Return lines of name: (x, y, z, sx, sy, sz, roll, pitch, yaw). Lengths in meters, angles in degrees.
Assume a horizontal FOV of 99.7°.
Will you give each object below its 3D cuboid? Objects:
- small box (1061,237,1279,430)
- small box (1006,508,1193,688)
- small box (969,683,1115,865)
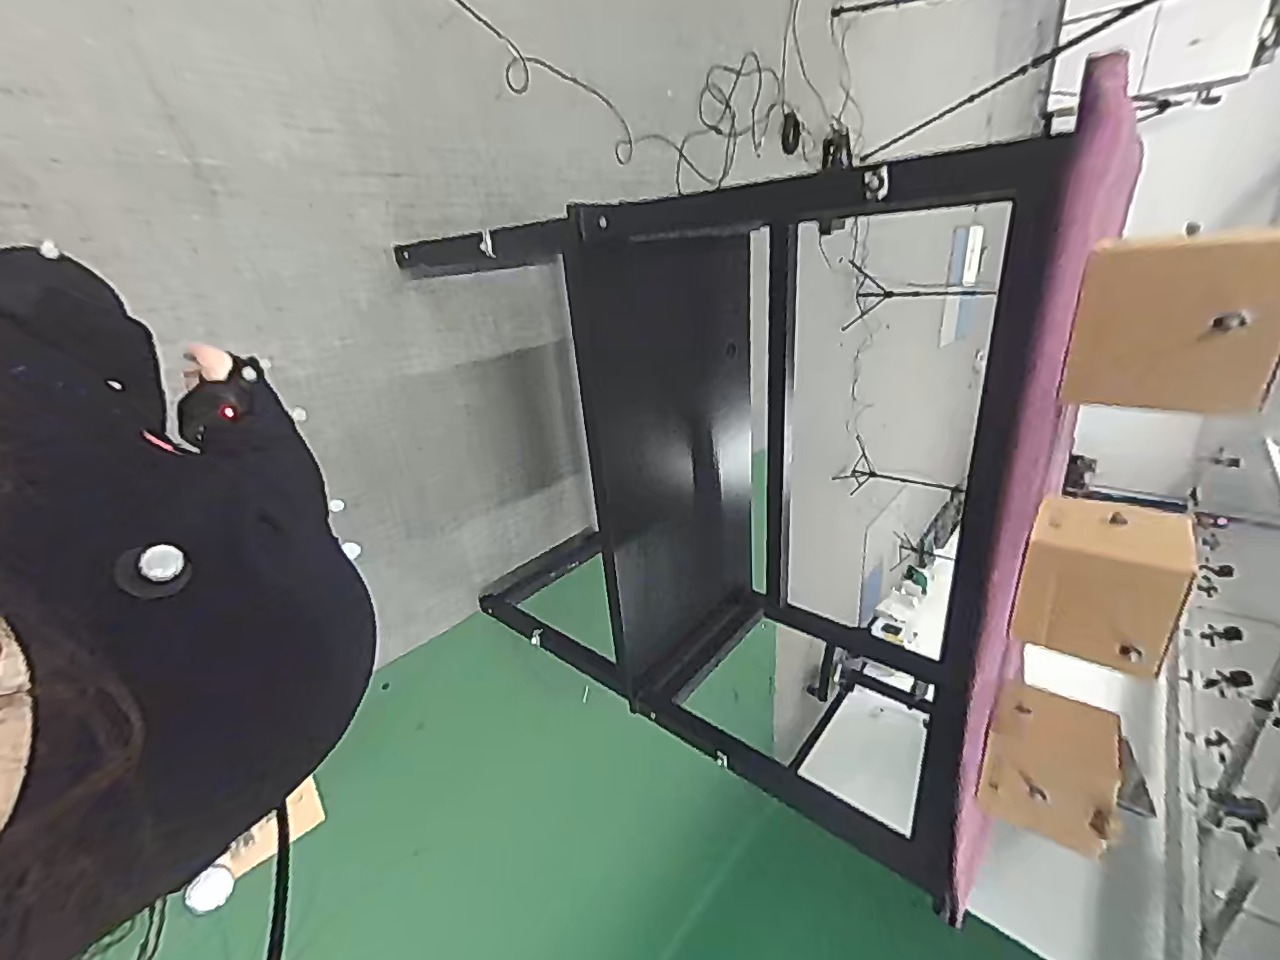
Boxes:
small box: (0.604, -0.171, 0.613, 0.168, 0.176, 0.179, -27, 123, -41)
small box: (0.643, 0.152, 0.774, 0.168, 0.176, 0.179, -29, 124, -43)
small box: (0.677, 0.483, 0.917, 0.179, 0.176, 0.168, -20, 116, -47)
